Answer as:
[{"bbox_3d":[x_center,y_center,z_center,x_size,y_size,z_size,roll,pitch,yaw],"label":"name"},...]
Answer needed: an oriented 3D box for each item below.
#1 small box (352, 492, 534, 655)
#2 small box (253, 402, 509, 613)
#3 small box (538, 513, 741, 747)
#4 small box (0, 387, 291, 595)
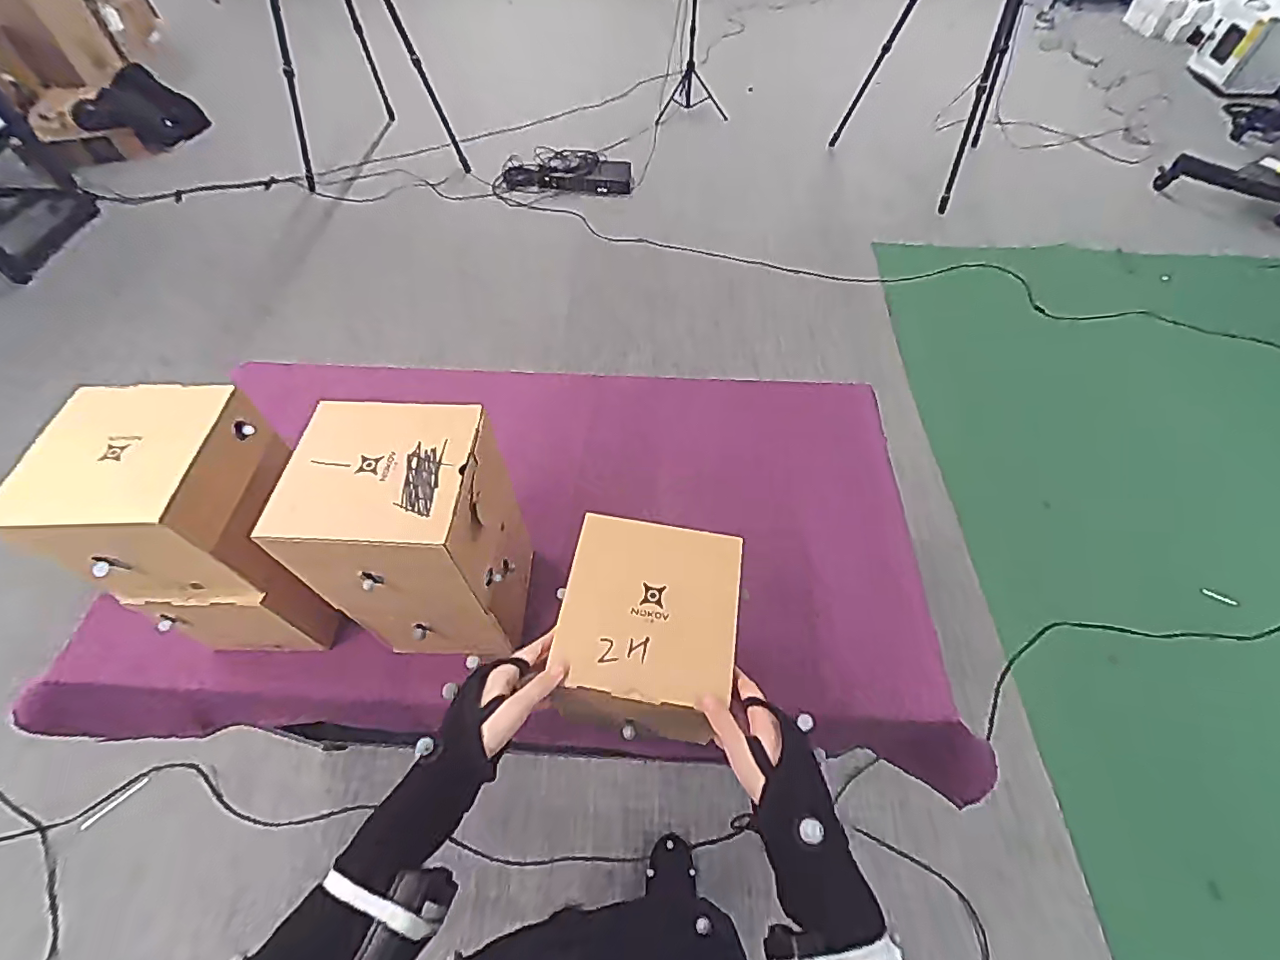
[{"bbox_3d":[-0.252,0.126,0.721,0.179,0.176,0.168,2,55,1],"label":"small box"},{"bbox_3d":[-0.251,0.035,0.584,0.179,0.176,0.168,2,54,2],"label":"small box"},{"bbox_3d":[0.004,0.162,0.571,0.168,0.176,0.179,9,57,5],"label":"small box"},{"bbox_3d":[-0.511,0.019,0.599,0.168,0.176,0.179,-1,54,-1],"label":"small box"}]
